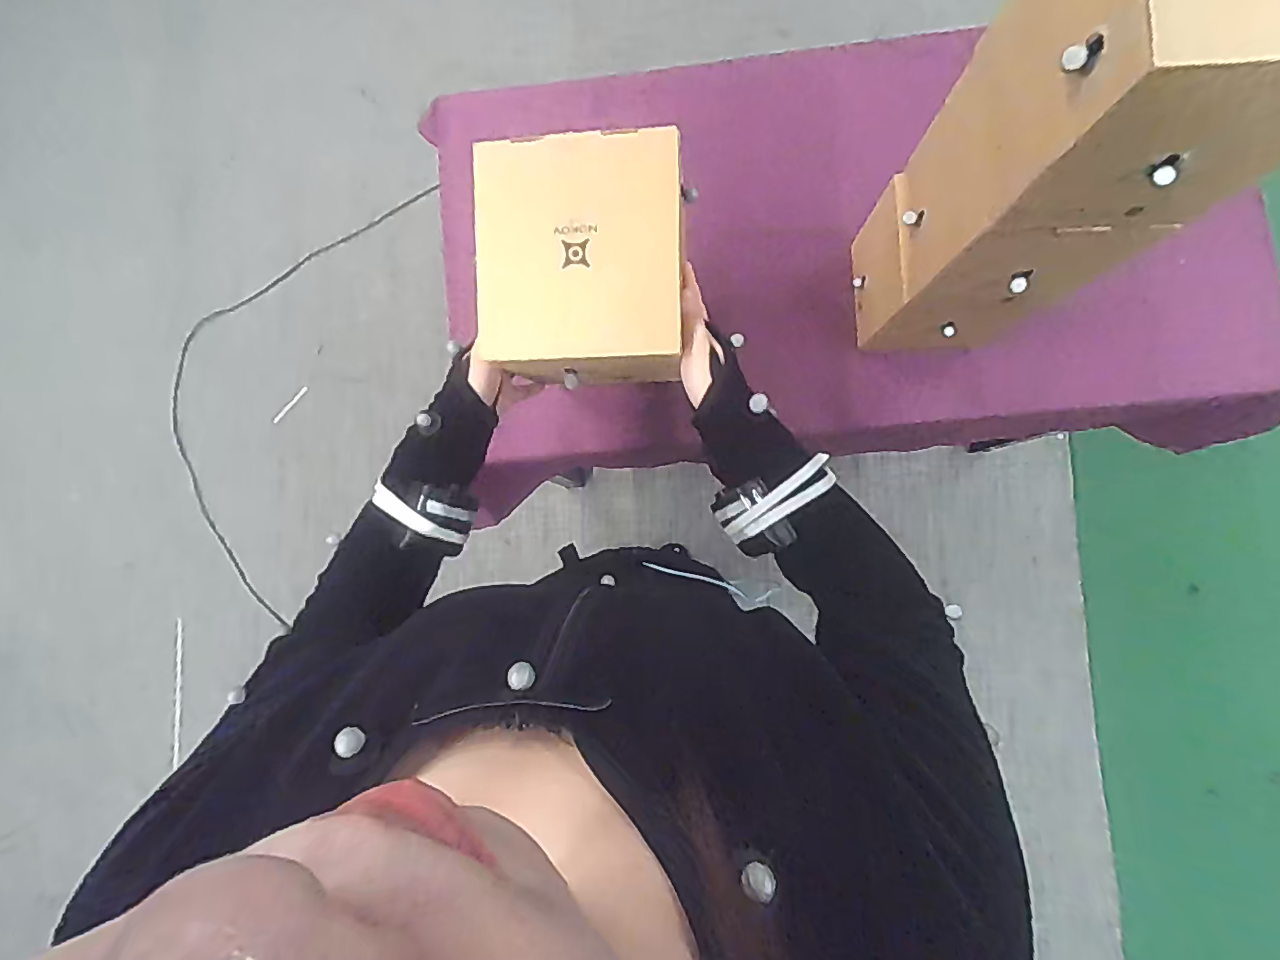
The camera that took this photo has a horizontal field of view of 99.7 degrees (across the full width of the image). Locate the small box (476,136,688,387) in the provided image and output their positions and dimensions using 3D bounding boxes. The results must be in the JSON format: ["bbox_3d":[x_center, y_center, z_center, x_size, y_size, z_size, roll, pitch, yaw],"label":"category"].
[{"bbox_3d":[-0.040,-0.182,0.507,0.168,0.176,0.179,0,92,6],"label":"small box"}]

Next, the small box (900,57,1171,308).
[{"bbox_3d":[0.387,-0.290,0.559,0.168,0.176,0.179,2,85,3],"label":"small box"}]

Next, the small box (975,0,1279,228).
[{"bbox_3d":[0.375,-0.305,0.395,0.168,0.176,0.179,0,84,3],"label":"small box"}]
